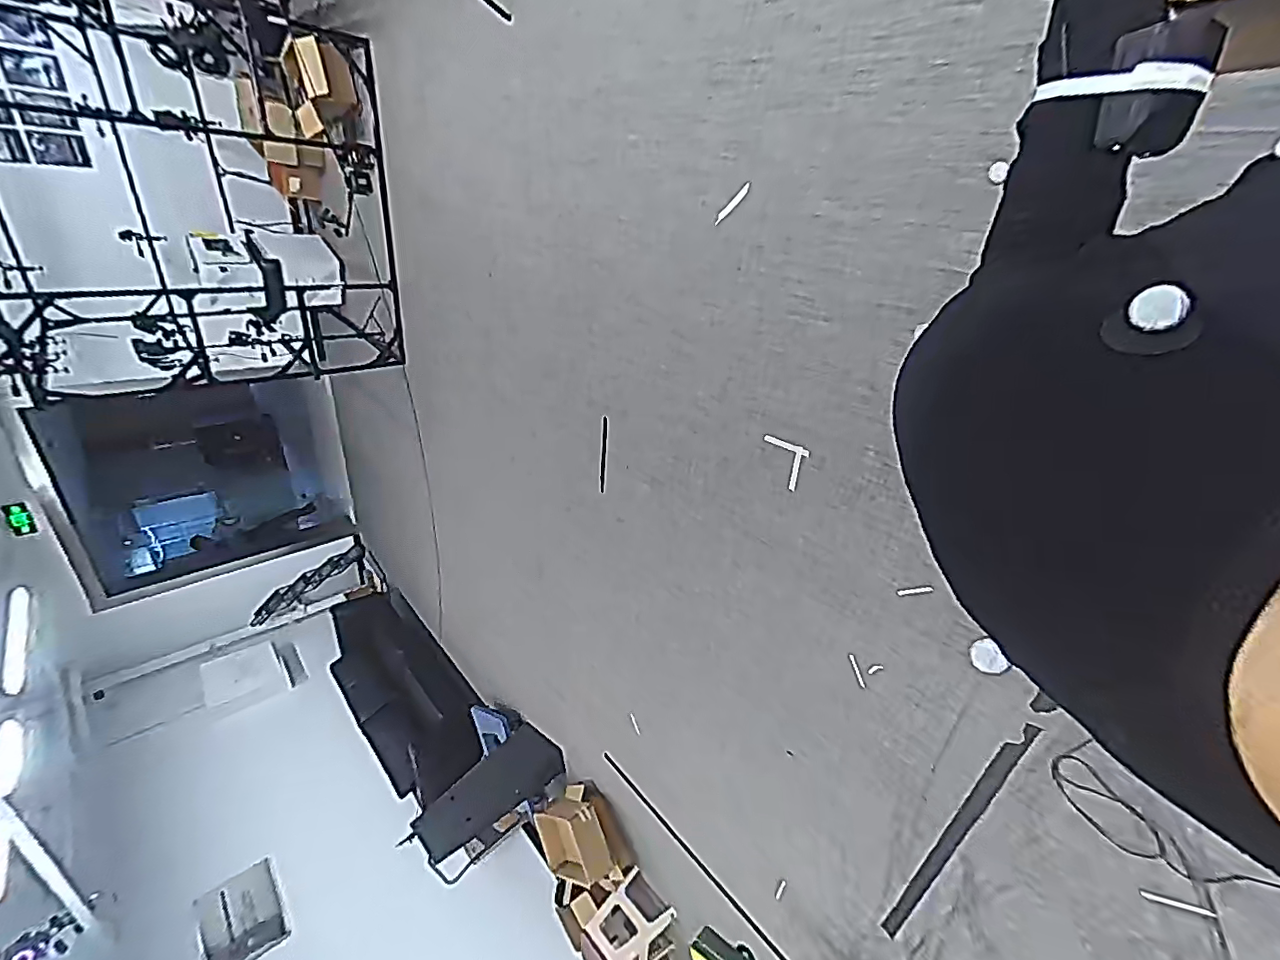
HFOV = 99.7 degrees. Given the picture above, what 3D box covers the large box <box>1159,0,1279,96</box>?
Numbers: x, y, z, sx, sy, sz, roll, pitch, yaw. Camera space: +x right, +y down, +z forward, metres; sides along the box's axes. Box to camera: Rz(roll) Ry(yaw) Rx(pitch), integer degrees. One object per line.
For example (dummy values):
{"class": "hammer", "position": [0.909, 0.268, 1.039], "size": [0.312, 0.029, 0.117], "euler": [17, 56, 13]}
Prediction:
{"class": "large box", "position": [0.558, -0.408, 0.240], "size": [0.408, 0.320, 0.320], "euler": [22, 125, 40]}
